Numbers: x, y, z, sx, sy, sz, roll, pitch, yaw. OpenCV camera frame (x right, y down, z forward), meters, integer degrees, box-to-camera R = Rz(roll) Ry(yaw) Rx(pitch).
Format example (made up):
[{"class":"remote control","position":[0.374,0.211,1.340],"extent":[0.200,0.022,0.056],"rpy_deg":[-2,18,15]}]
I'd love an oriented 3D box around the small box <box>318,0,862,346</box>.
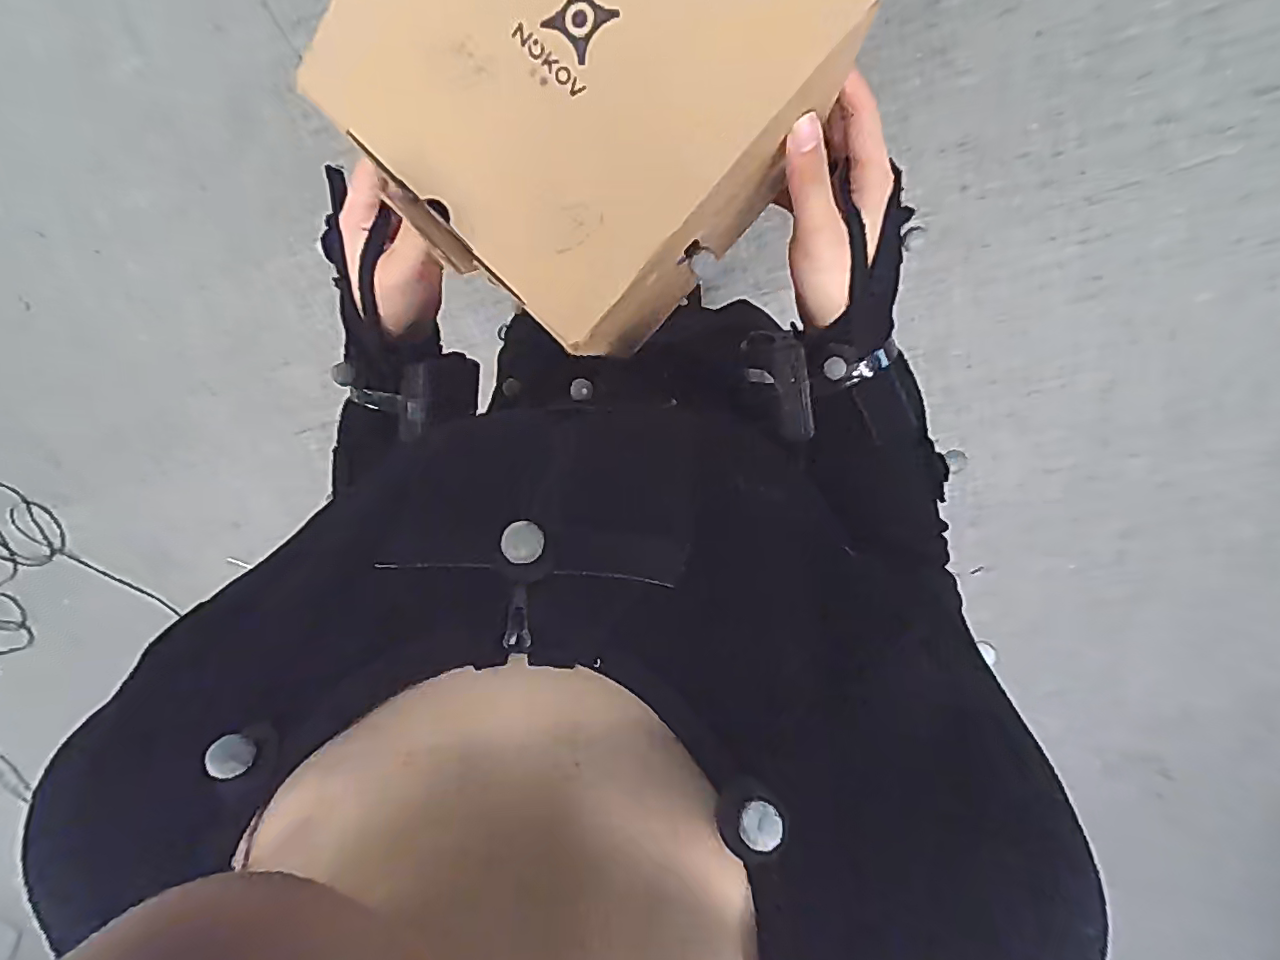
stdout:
[{"class":"small box","position":[-0.017,-0.191,0.298],"extent":[0.168,0.176,0.179],"rpy_deg":[43,105,-3]}]
